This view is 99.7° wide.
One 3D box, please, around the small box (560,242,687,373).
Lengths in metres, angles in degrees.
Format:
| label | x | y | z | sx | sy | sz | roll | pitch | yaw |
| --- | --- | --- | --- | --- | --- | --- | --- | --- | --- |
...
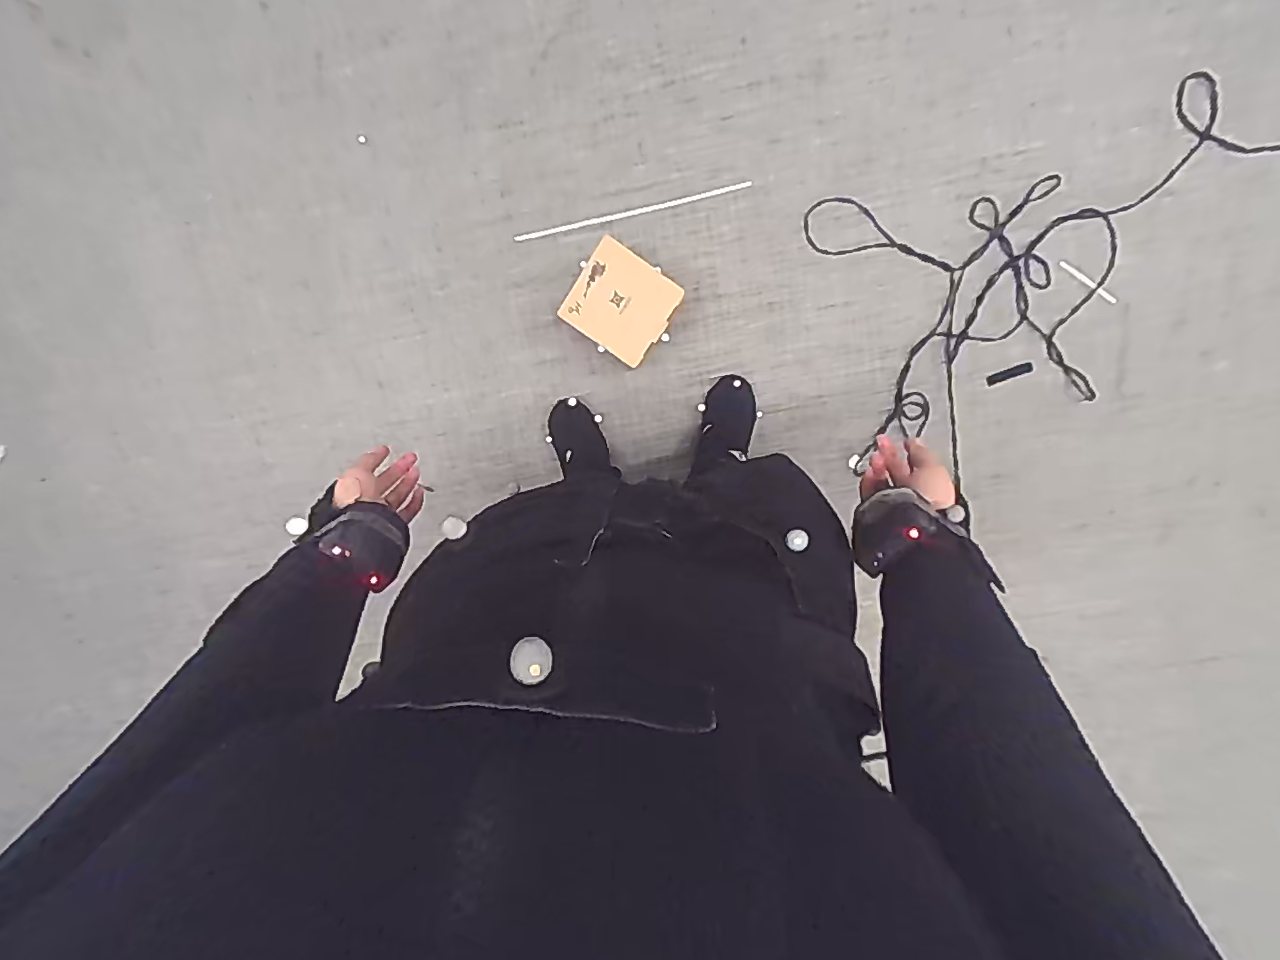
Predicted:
| label | x | y | z | sx | sy | sz | roll | pitch | yaw |
| --- | --- | --- | --- | --- | --- | --- | --- | --- | --- |
| small box | -0.026 | -0.328 | 1.051 | 0.179 | 0.176 | 0.168 | 34 | 102 | -5 |
